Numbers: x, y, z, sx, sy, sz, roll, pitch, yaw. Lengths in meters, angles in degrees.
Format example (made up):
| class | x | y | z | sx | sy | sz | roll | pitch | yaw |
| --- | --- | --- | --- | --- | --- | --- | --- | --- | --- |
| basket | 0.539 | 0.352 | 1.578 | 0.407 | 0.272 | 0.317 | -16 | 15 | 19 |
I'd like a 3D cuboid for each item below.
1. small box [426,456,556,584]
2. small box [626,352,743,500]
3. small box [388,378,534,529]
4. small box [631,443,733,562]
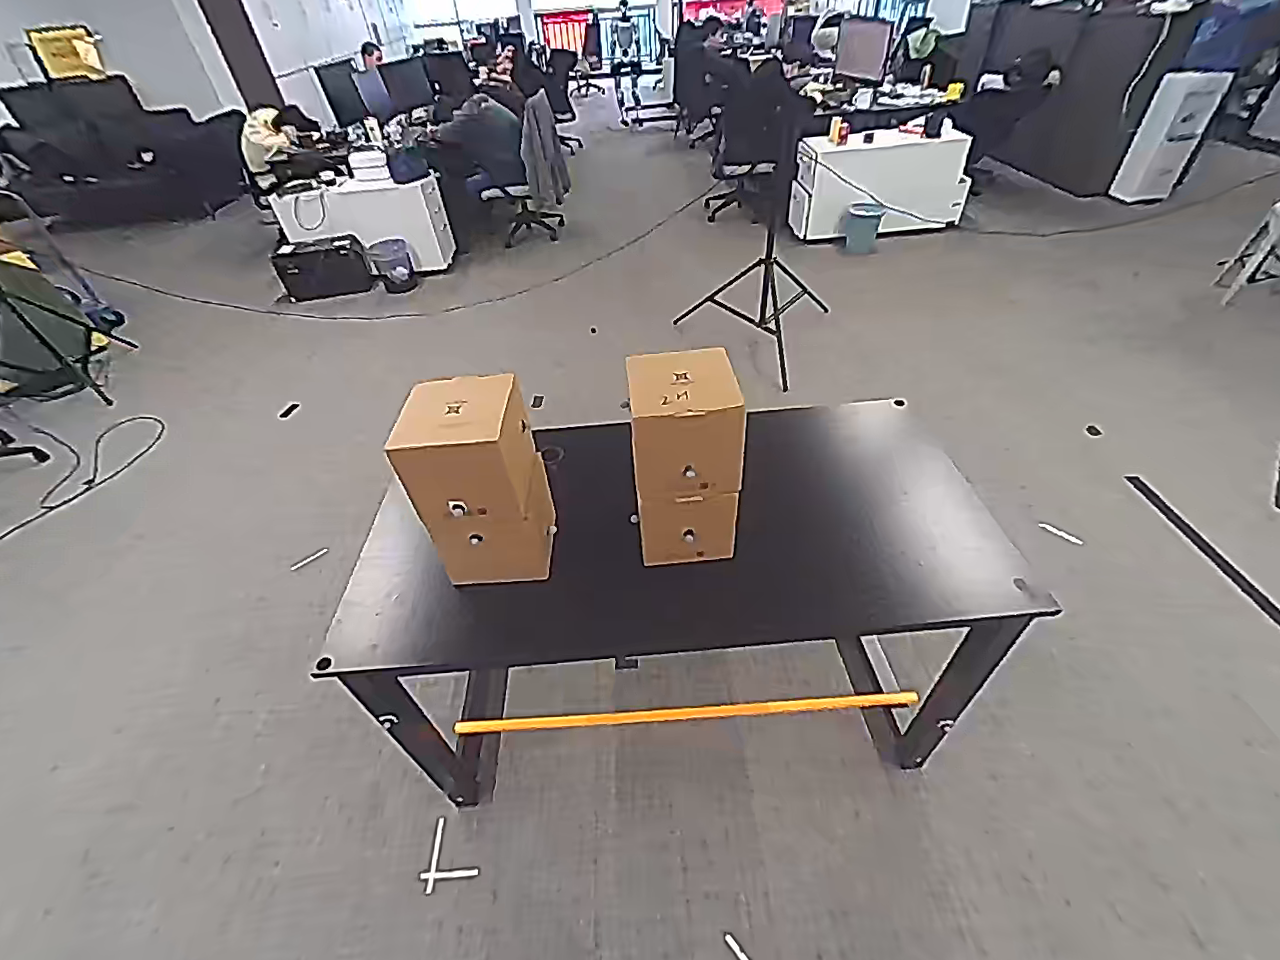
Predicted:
| class | x | y | z | sx | sy | sz | roll | pitch | yaw |
| --- | --- | --- | --- | --- | --- | --- | --- | --- | --- |
| small box | -0.260 | 0.075 | 0.987 | 0.179 | 0.176 | 0.168 | -3 | 43 | 1 |
| small box | 0.067 | -0.089 | 0.891 | 0.168 | 0.176 | 0.179 | -6 | 42 | 0 |
| small box | -0.273 | -0.043 | 0.877 | 0.168 | 0.176 | 0.179 | -6 | 43 | 2 |
| small box | 0.075 | 0.038 | 0.998 | 0.168 | 0.176 | 0.179 | -6 | 43 | 0 |
